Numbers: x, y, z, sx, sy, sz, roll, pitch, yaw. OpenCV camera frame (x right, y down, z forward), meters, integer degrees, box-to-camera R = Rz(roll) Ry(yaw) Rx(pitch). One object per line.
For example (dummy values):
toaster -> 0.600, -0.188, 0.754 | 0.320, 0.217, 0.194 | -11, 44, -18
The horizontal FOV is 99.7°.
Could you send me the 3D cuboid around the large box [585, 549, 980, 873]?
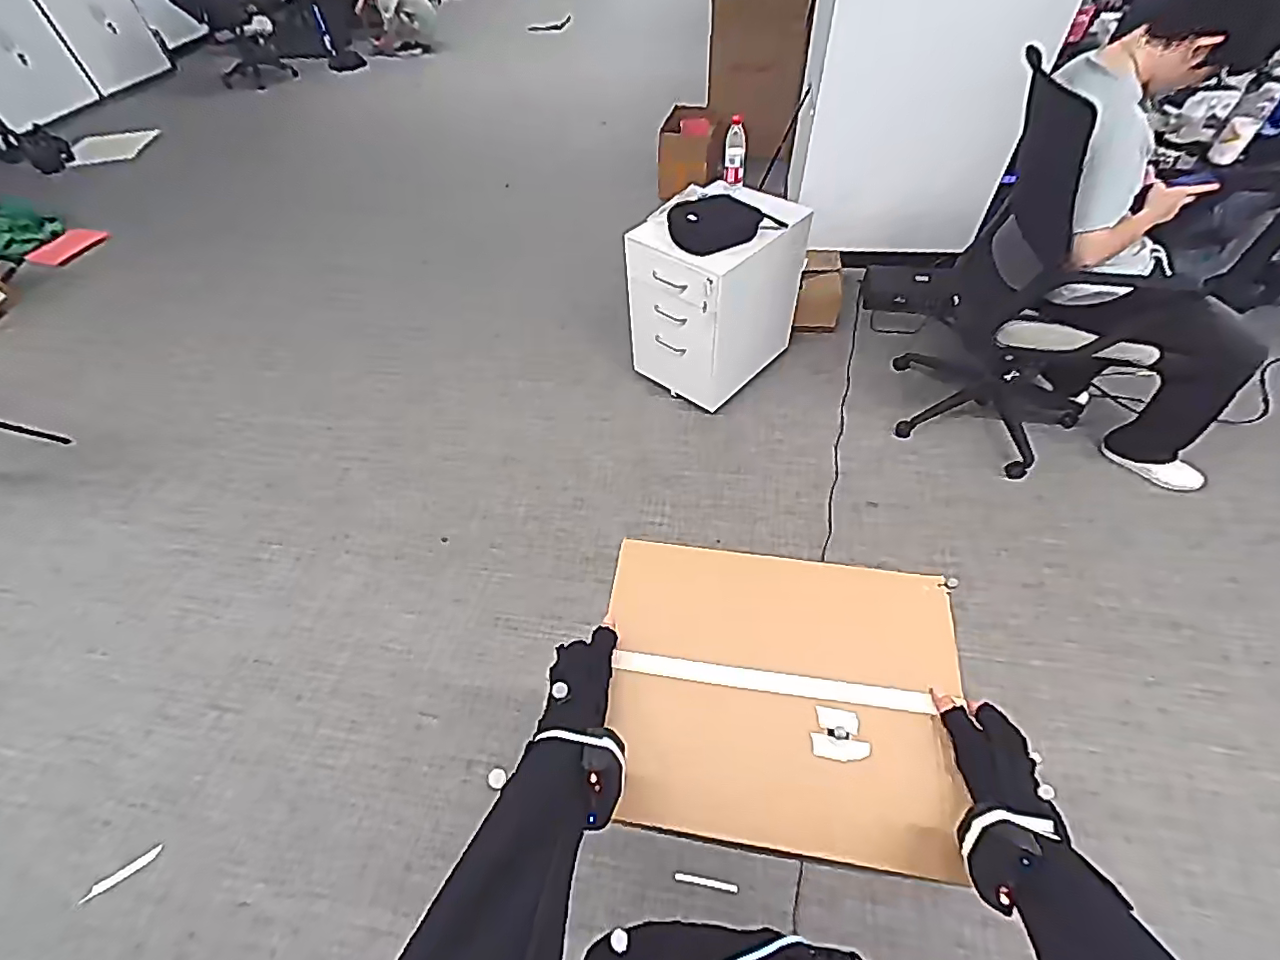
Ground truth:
large box -> 0.161, 0.319, 0.749 | 0.408, 0.320, 0.320 | 6, 57, 7
